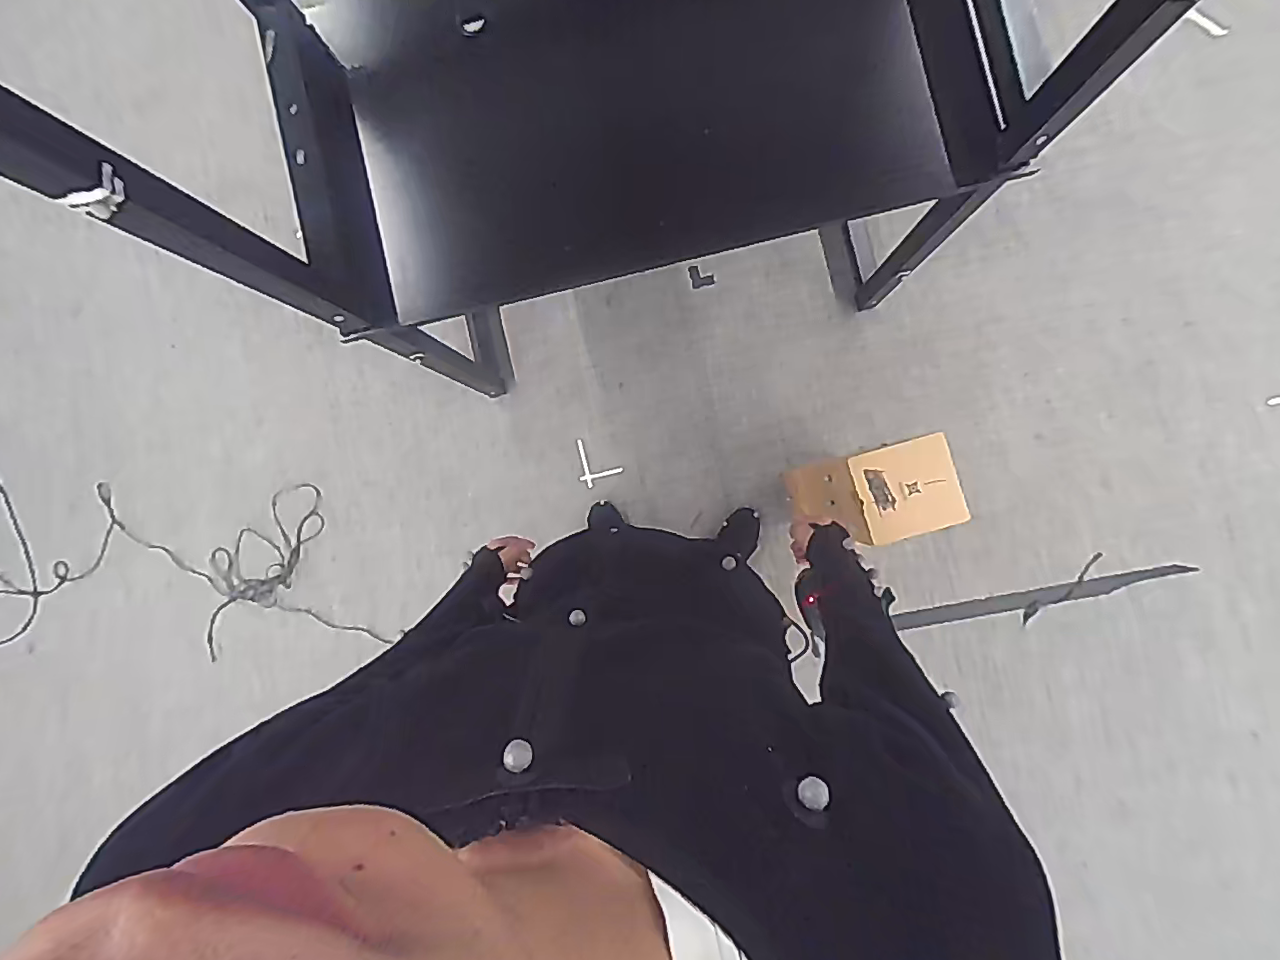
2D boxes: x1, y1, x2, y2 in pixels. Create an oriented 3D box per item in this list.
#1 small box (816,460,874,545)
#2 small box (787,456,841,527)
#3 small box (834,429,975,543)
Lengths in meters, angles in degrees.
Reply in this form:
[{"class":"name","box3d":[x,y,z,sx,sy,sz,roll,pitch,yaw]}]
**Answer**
[{"class":"small box","box3d":[0.503,0.029,1.184,0.168,0.176,0.179,-16,88,5]},{"class":"small box","box3d":[0.528,0.027,1.510,0.179,0.176,0.168,-14,88,5]},{"class":"small box","box3d":[0.482,0.013,1.021,0.179,0.176,0.168,-16,88,4]}]
